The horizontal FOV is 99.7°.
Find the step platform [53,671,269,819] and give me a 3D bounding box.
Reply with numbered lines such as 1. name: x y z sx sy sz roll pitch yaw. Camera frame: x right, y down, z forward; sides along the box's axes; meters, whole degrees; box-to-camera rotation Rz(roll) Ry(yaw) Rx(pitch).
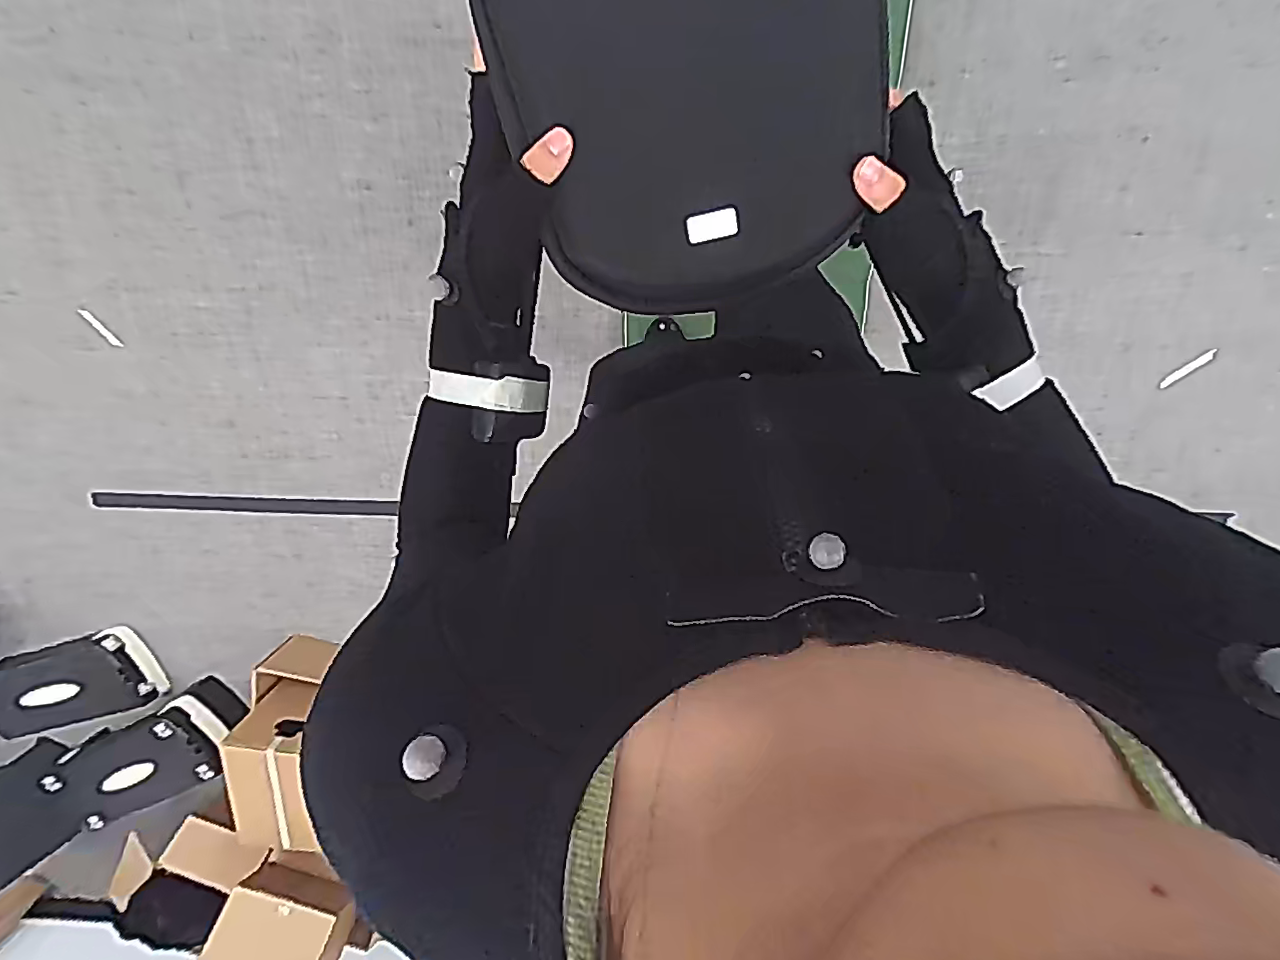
1. step platform: -1.707 0.950 1.928 0.684 0.204 0.286 -27 106 12
